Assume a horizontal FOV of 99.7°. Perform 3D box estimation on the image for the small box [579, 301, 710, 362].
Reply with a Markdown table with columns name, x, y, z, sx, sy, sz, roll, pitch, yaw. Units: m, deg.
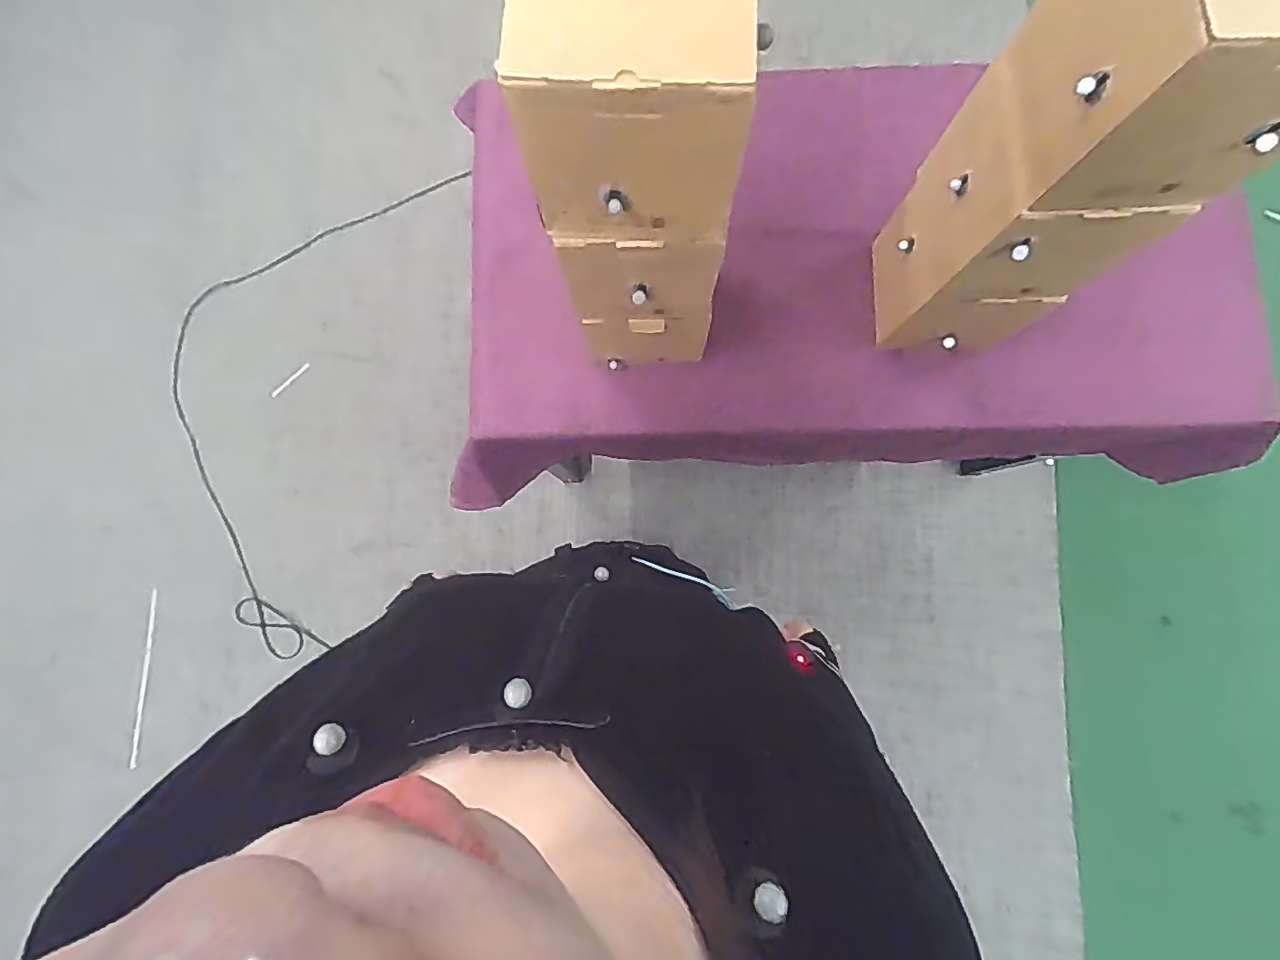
| name | x | y | z | sx | sy | sz | roll | pitch | yaw |
| --- | --- | --- | --- | --- | --- | --- | --- | --- | --- |
| small box | 0.007 | -0.271 | 0.758 | 0.168 | 0.176 | 0.179 | -2 | 82 | 1 |

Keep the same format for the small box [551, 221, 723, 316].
| name | x | y | z | sx | sy | sz | roll | pitch | yaw |
| --- | --- | --- | --- | --- | --- | --- | --- | --- | --- |
| small box | 0.000 | -0.293 | 0.595 | 0.168 | 0.176 | 0.179 | 0 | 84 | 1 |

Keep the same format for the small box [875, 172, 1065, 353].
| name | x | y | z | sx | sy | sz | roll | pitch | yaw |
| --- | --- | --- | --- | --- | --- | --- | --- | --- | --- |
| small box | 0.440 | -0.291 | 0.749 | 0.168 | 0.176 | 0.179 | 1 | 83 | 2 |

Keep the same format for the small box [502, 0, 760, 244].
| name | x | y | z | sx | sy | sz | roll | pitch | yaw |
| --- | --- | --- | --- | --- | --- | --- | --- | --- | --- |
| small box | -0.002 | -0.320 | 0.434 | 0.168 | 0.176 | 0.179 | 3 | 83 | 1 |

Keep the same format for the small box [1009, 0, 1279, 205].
| name | x | y | z | sx | sy | sz | roll | pitch | yaw |
| --- | --- | --- | --- | --- | --- | --- | --- | --- | --- |
| small box | 0.431 | -0.340 | 0.425 | 0.168 | 0.176 | 0.179 | -1 | 82 | 1 |
